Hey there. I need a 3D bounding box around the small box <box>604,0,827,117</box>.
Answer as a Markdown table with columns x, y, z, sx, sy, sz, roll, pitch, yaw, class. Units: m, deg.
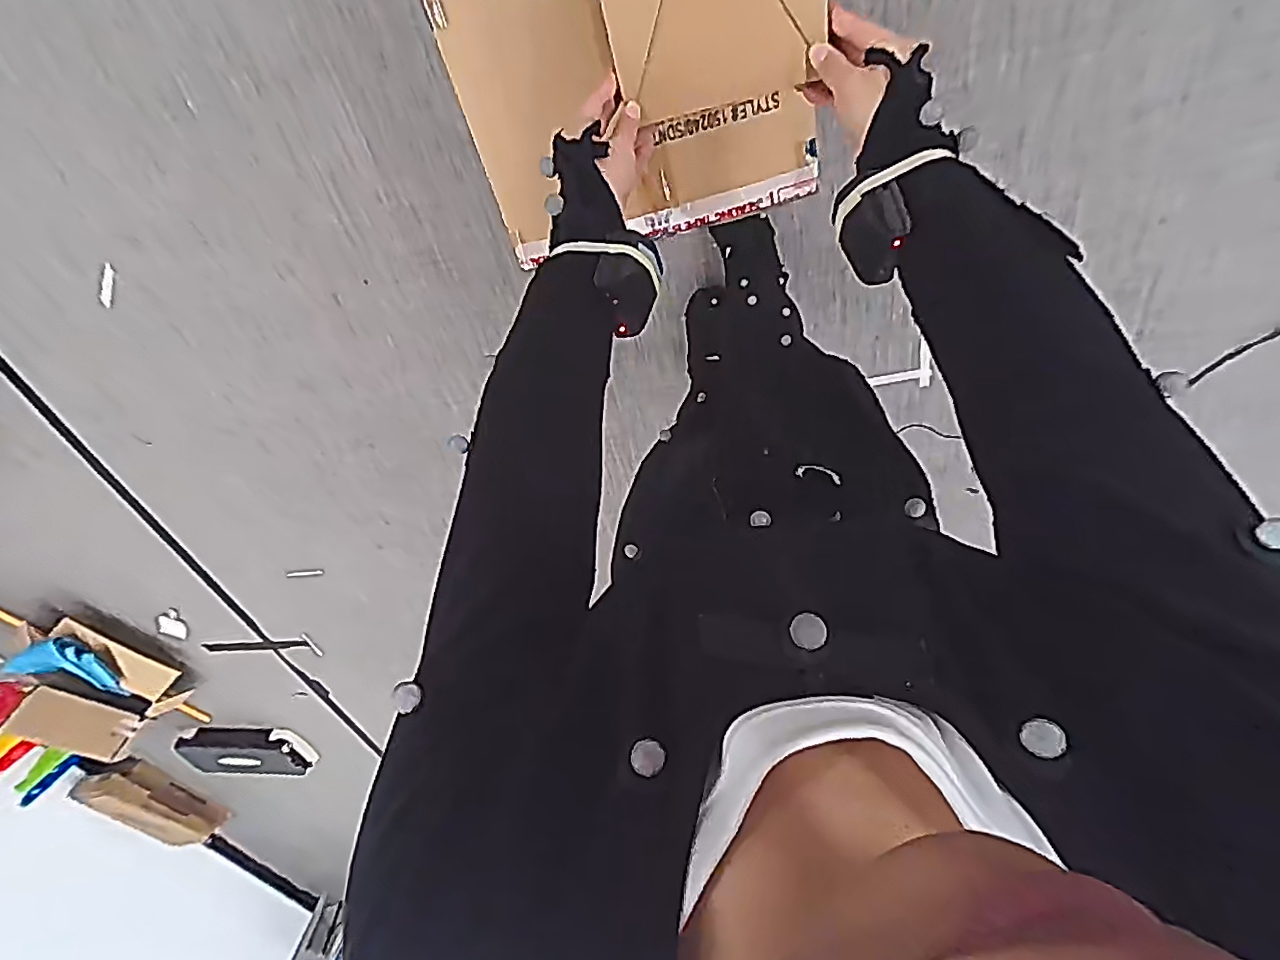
| x | y | z | sx | sy | sz | roll | pitch | yaw | class |
| --- | --- | --- | --- | --- | --- | --- | --- | --- | --- |
| 0.054 | -0.430 | 0.446 | 0.168 | 0.176 | 0.179 | -8 | 133 | 12 | small box |
